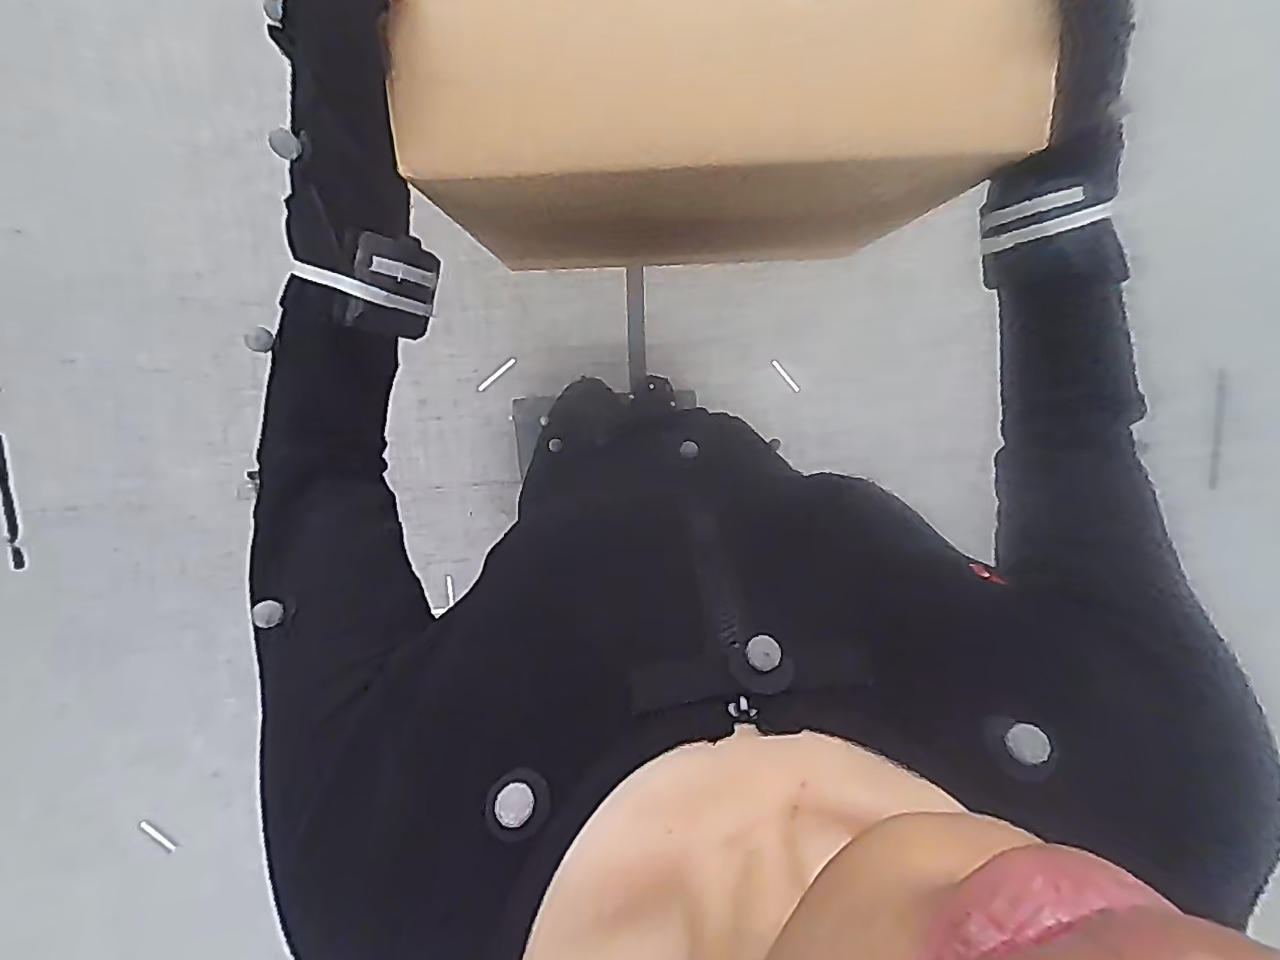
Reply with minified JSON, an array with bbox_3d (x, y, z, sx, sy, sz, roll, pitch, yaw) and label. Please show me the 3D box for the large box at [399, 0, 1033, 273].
[{"bbox_3d":[0.040,-0.383,0.473,0.408,0.320,0.320,-3,101,-1],"label":"large box"}]
